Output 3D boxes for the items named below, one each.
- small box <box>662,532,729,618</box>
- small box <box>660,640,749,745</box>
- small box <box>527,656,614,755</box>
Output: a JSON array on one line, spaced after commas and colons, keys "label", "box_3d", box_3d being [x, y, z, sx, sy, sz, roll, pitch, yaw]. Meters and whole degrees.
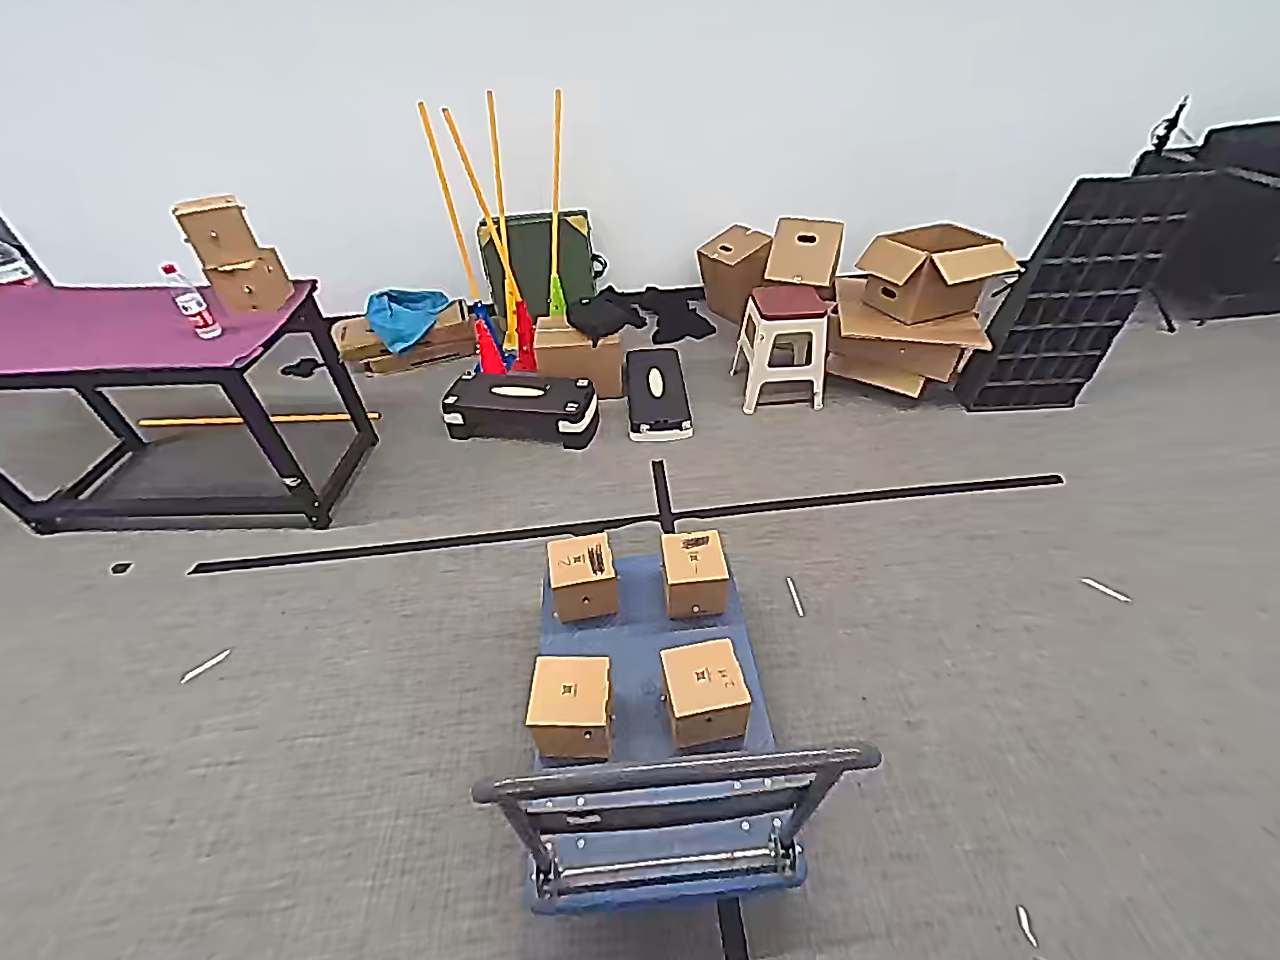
[{"label": "small box", "box_3d": [0.153, 0.273, 1.553, 0.168, 0.176, 0.179, -5, 44, -2]}, {"label": "small box", "box_3d": [0.149, 0.511, 1.293, 0.179, 0.176, 0.168, -8, 43, -6]}, {"label": "small box", "box_3d": [-0.157, 0.536, 1.281, 0.179, 0.176, 0.168, 0, 42, 1]}]
